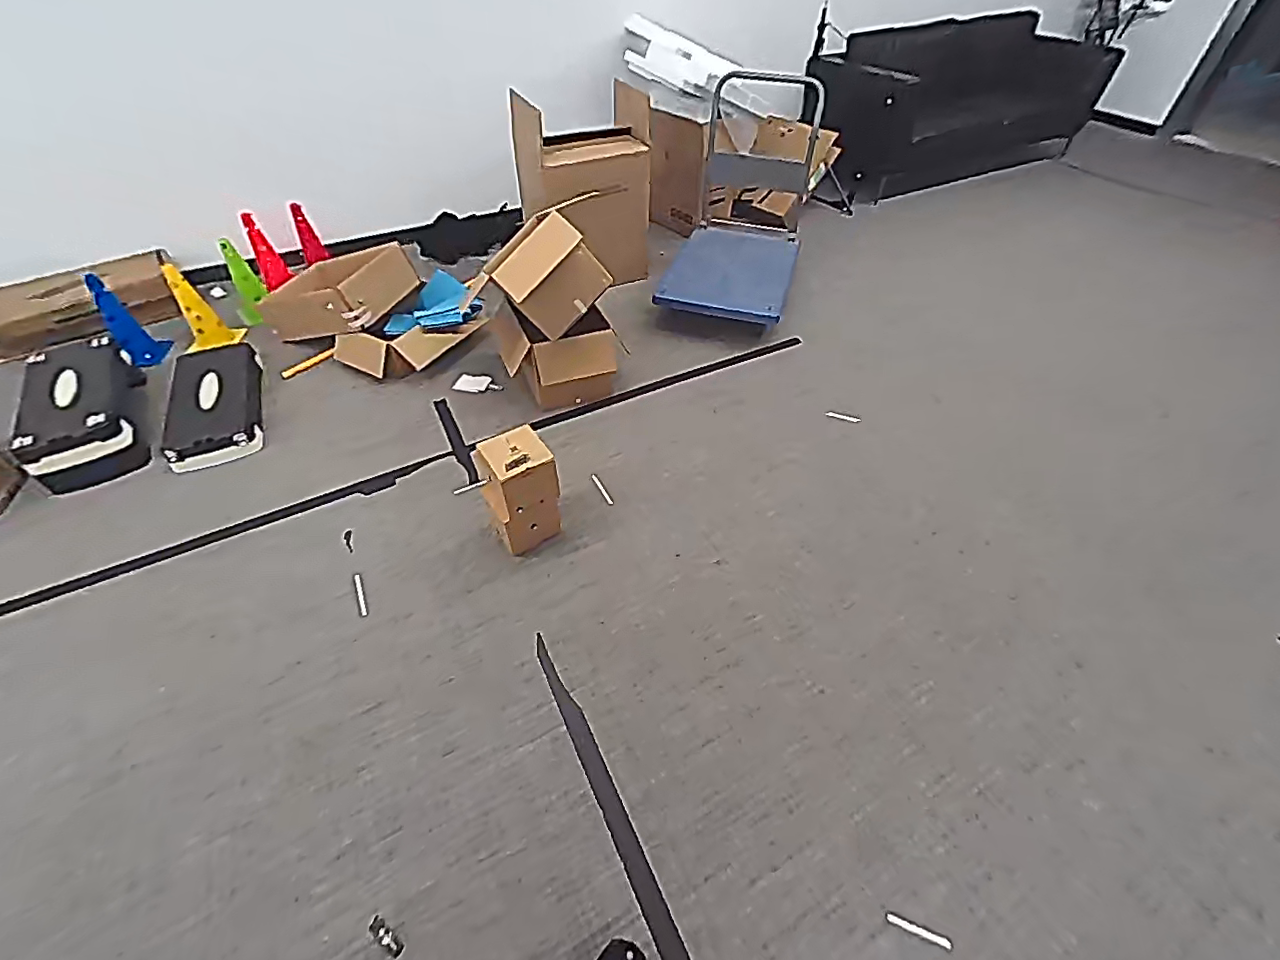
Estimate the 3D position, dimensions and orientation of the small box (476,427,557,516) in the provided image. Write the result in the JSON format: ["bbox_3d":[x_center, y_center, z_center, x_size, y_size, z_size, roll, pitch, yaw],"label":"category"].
[{"bbox_3d":[-0.354,-0.017,1.575,0.168,0.176,0.179,-25,51,-23],"label":"small box"}]
